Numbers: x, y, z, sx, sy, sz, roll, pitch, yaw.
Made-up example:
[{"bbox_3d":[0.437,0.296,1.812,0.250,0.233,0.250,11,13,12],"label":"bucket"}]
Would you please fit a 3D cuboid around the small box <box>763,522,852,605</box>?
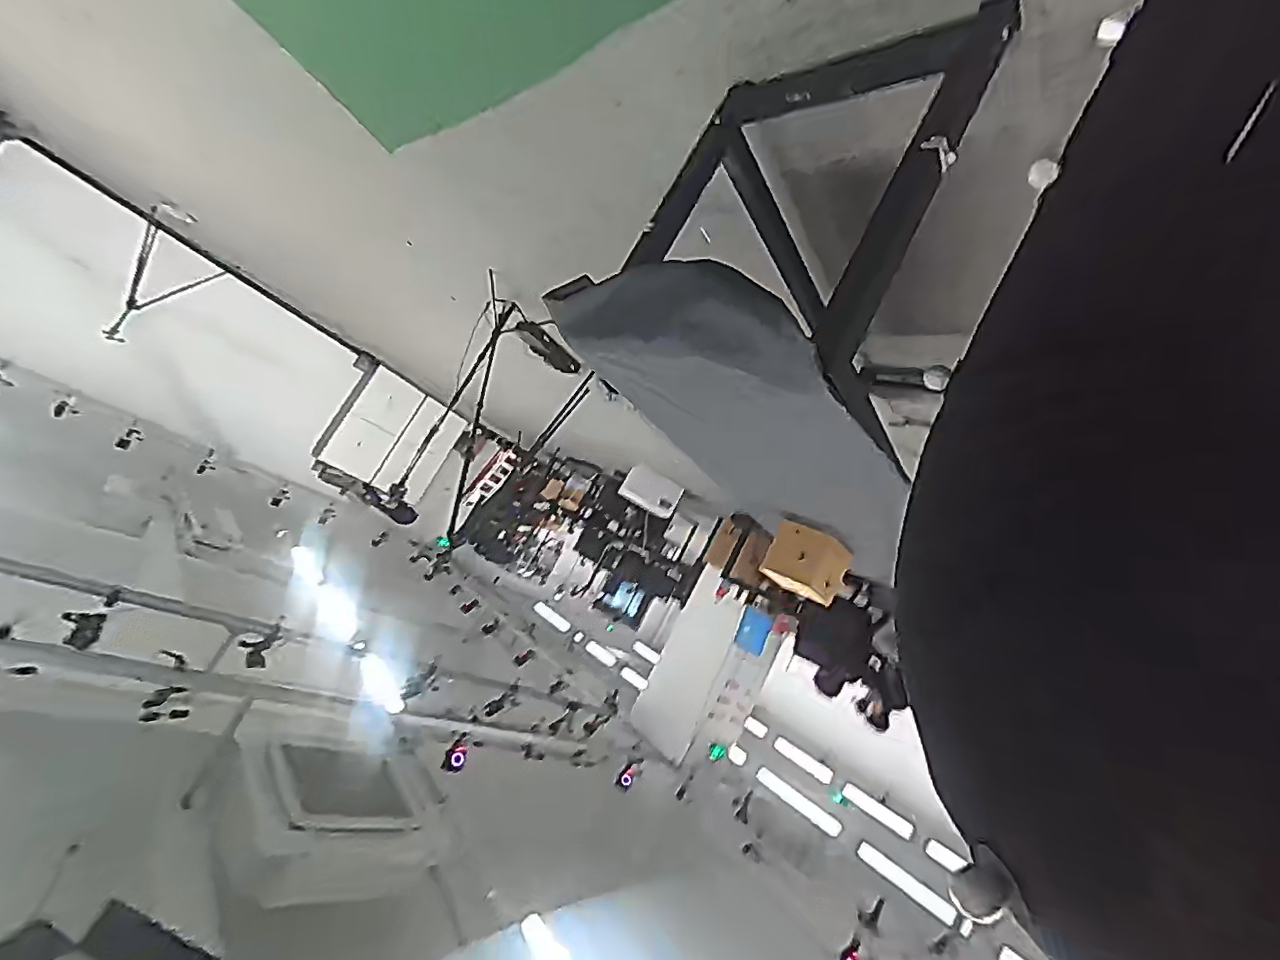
[{"bbox_3d":[0.500,0.242,1.600,0.168,0.176,0.179,18,167,46],"label":"small box"}]
